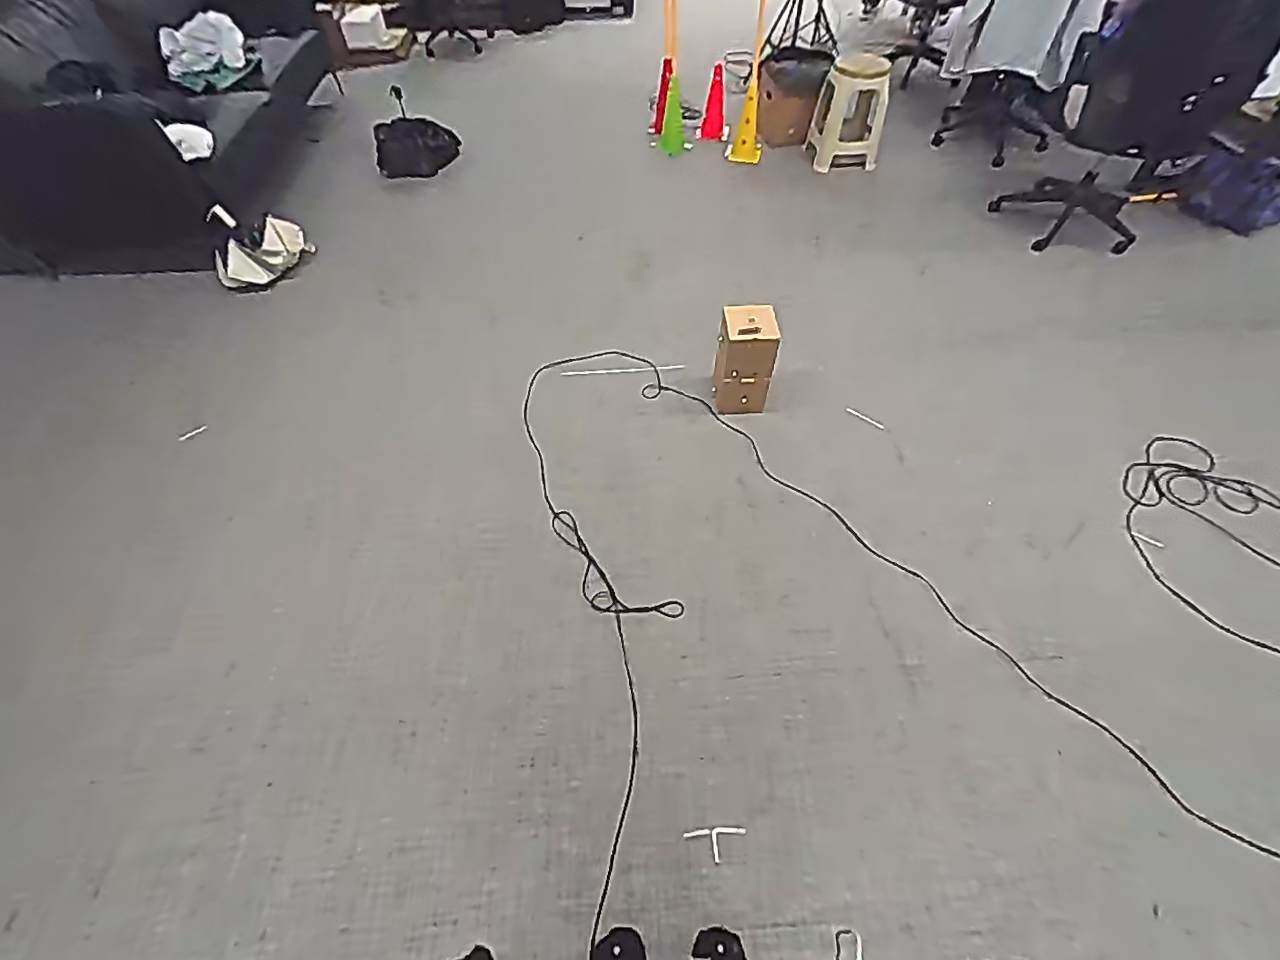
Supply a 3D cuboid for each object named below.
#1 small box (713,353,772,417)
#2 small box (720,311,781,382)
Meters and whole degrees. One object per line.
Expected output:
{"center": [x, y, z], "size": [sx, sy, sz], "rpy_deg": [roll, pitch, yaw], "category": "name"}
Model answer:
{"center": [0.363, -0.341, 1.947], "size": [0.168, 0.176, 0.179], "rpy_deg": [-2, 56, -5], "category": "small box"}
{"center": [0.365, -0.443, 1.815], "size": [0.168, 0.176, 0.179], "rpy_deg": [-2, 53, 0], "category": "small box"}
